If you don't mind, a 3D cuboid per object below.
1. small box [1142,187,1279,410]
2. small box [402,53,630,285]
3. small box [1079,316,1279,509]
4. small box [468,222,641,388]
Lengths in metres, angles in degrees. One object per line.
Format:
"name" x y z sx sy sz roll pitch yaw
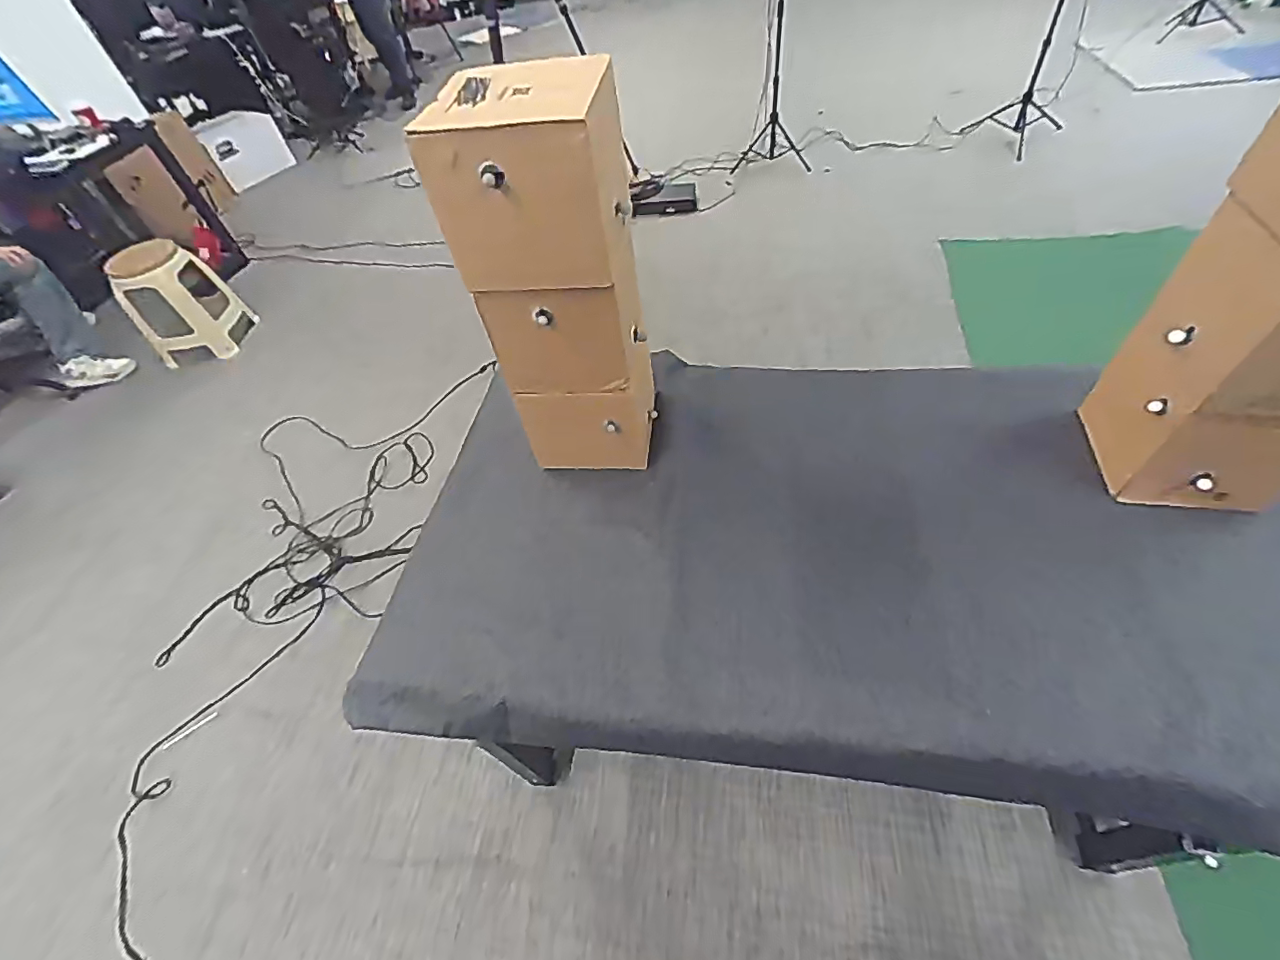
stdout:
"small box" 0.685 -0.183 0.559 0.168 0.176 0.179 5 54 13
"small box" -0.115 -0.329 0.588 0.179 0.176 0.168 2 54 9
"small box" 0.709 -0.087 0.689 0.168 0.176 0.179 4 53 13
"small box" -0.099 -0.236 0.723 0.179 0.176 0.168 0 54 7
